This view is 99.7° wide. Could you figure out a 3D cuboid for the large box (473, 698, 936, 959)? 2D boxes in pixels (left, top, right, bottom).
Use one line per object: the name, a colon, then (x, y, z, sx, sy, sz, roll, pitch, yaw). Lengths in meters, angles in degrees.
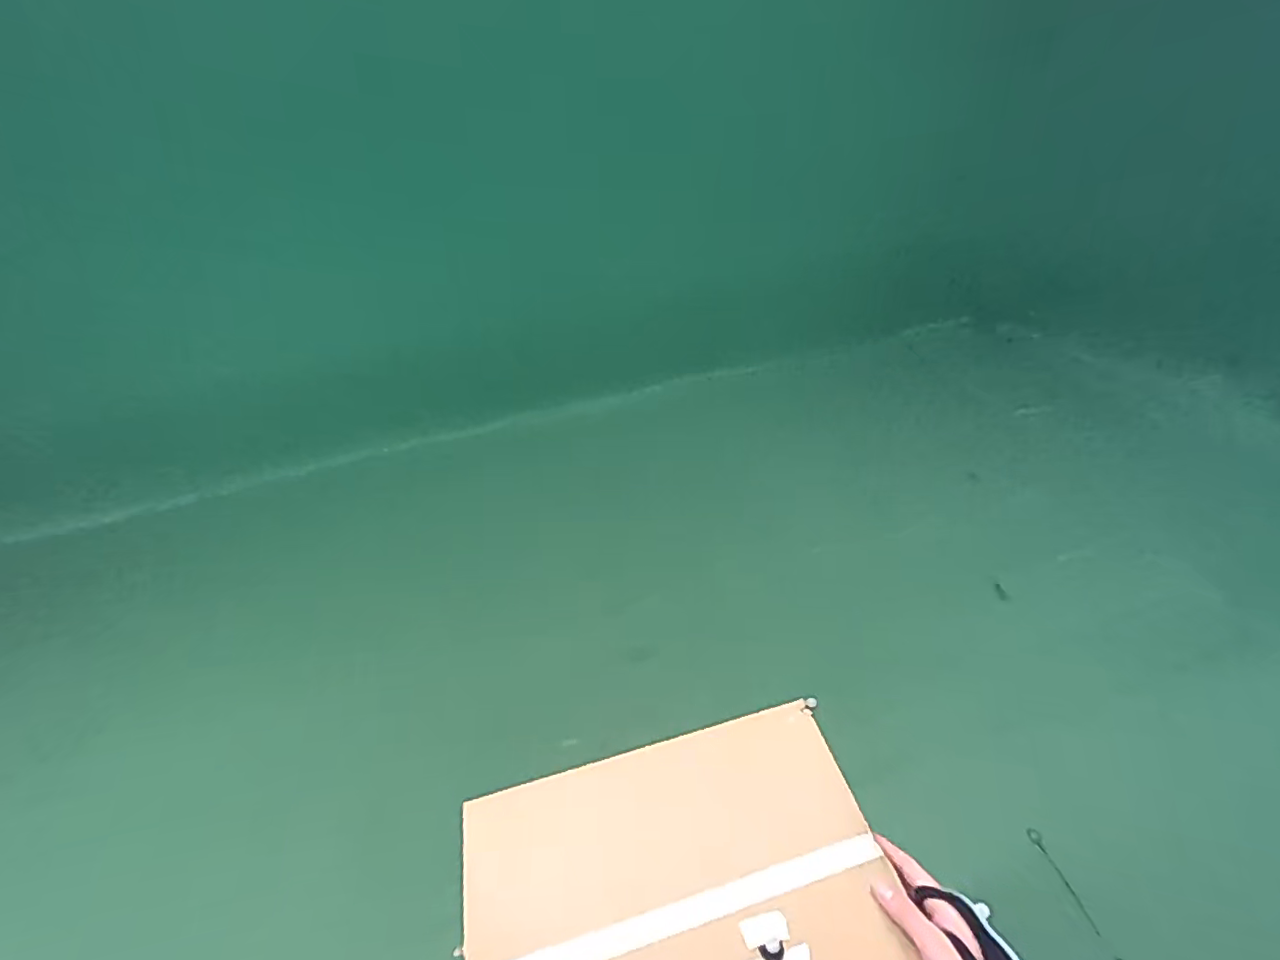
large box: (0.052, 0.518, 0.618, 0.408, 0.320, 0.320, -13, 42, -9)
